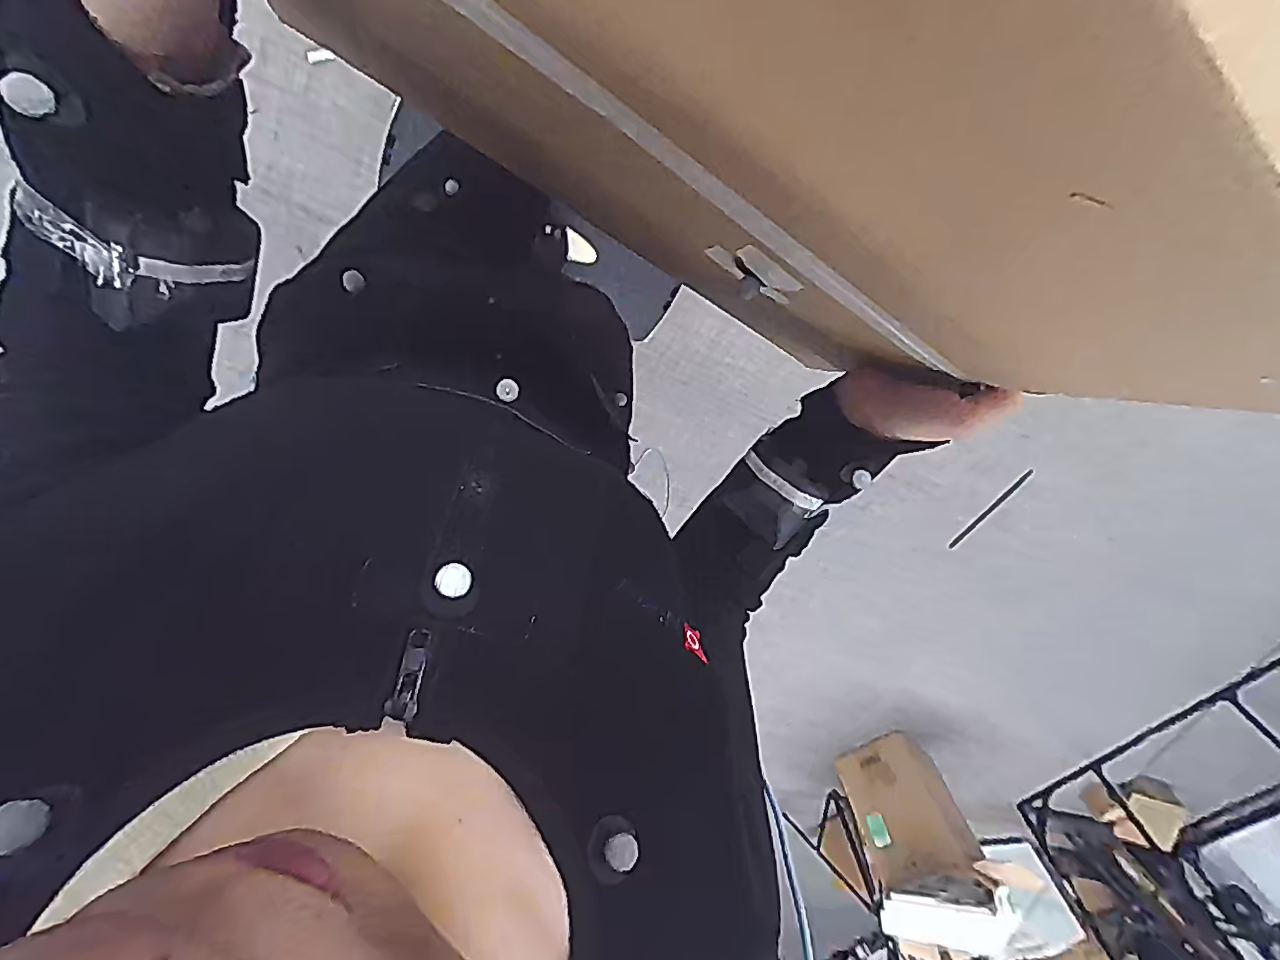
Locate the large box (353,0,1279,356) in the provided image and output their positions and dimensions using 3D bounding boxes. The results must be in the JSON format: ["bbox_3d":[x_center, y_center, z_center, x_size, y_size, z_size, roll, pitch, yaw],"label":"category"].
[{"bbox_3d":[0.110,-0.280,0.190,0.408,0.320,0.320,23,96,-24],"label":"large box"}]
